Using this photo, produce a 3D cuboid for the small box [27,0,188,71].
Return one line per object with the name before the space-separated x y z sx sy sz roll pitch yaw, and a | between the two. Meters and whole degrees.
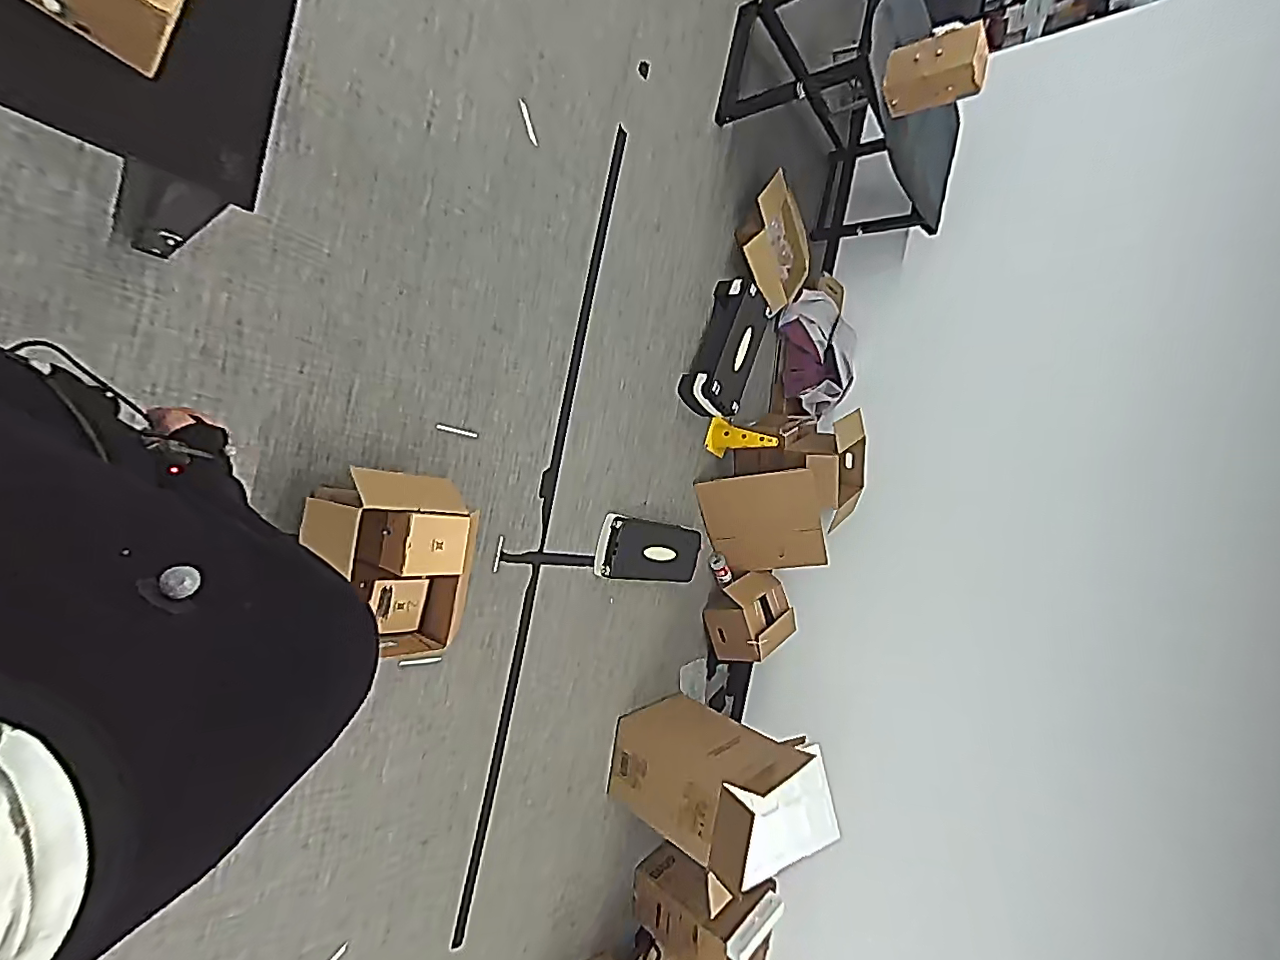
small box | -0.557 -0.577 0.548 0.168 0.176 0.179 23 81 -48
